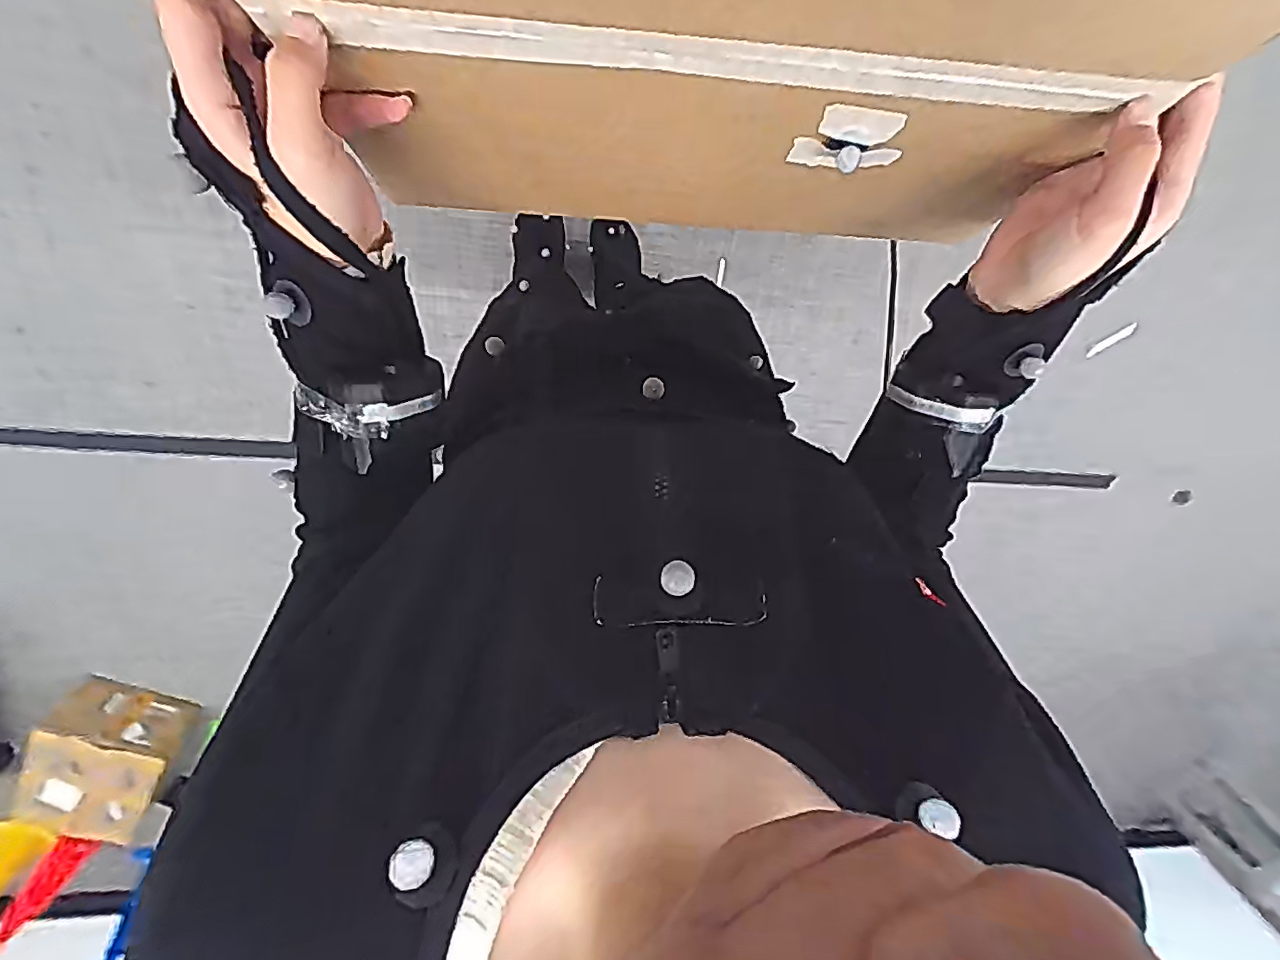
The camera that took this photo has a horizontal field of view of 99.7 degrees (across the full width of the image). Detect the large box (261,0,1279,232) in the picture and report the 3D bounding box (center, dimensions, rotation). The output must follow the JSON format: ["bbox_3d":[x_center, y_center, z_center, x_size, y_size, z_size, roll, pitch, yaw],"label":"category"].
[{"bbox_3d":[0.045,-0.338,0.236,0.408,0.320,0.320,1,91,-5],"label":"large box"}]
